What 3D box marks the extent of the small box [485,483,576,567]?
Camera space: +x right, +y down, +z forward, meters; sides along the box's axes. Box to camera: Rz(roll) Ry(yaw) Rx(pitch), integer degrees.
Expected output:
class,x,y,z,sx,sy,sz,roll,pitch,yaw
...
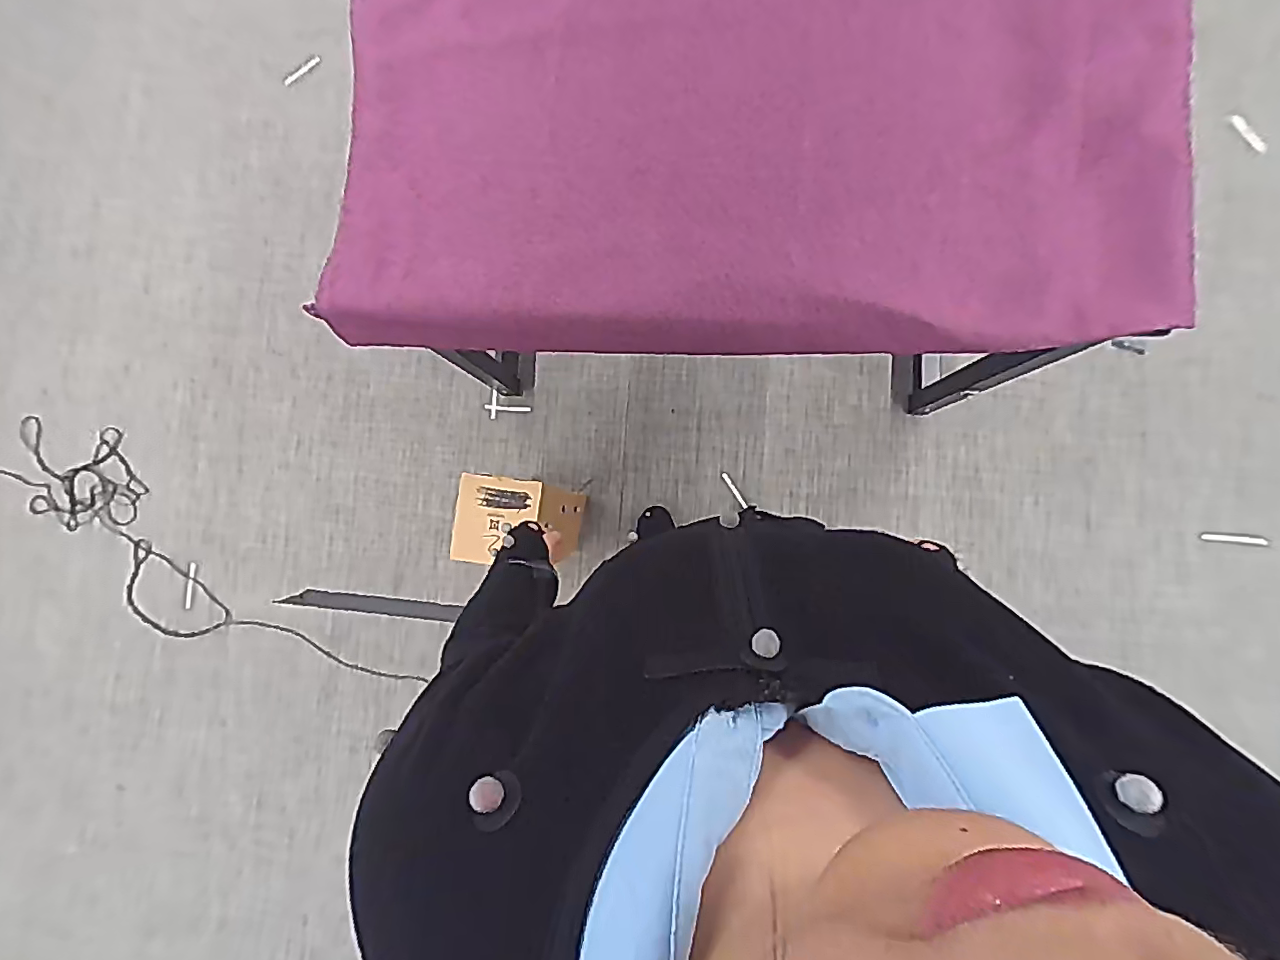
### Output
class,x,y,z,sx,sy,sz,roll,pitch,yaw
small box,-0.254,0.105,1.291,0.168,0.176,0.179,5,87,5

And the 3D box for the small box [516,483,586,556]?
class,x,y,z,sx,sy,sz,roll,pitch,yaw
small box,-0.249,0.111,1.456,0.168,0.176,0.179,10,87,5
